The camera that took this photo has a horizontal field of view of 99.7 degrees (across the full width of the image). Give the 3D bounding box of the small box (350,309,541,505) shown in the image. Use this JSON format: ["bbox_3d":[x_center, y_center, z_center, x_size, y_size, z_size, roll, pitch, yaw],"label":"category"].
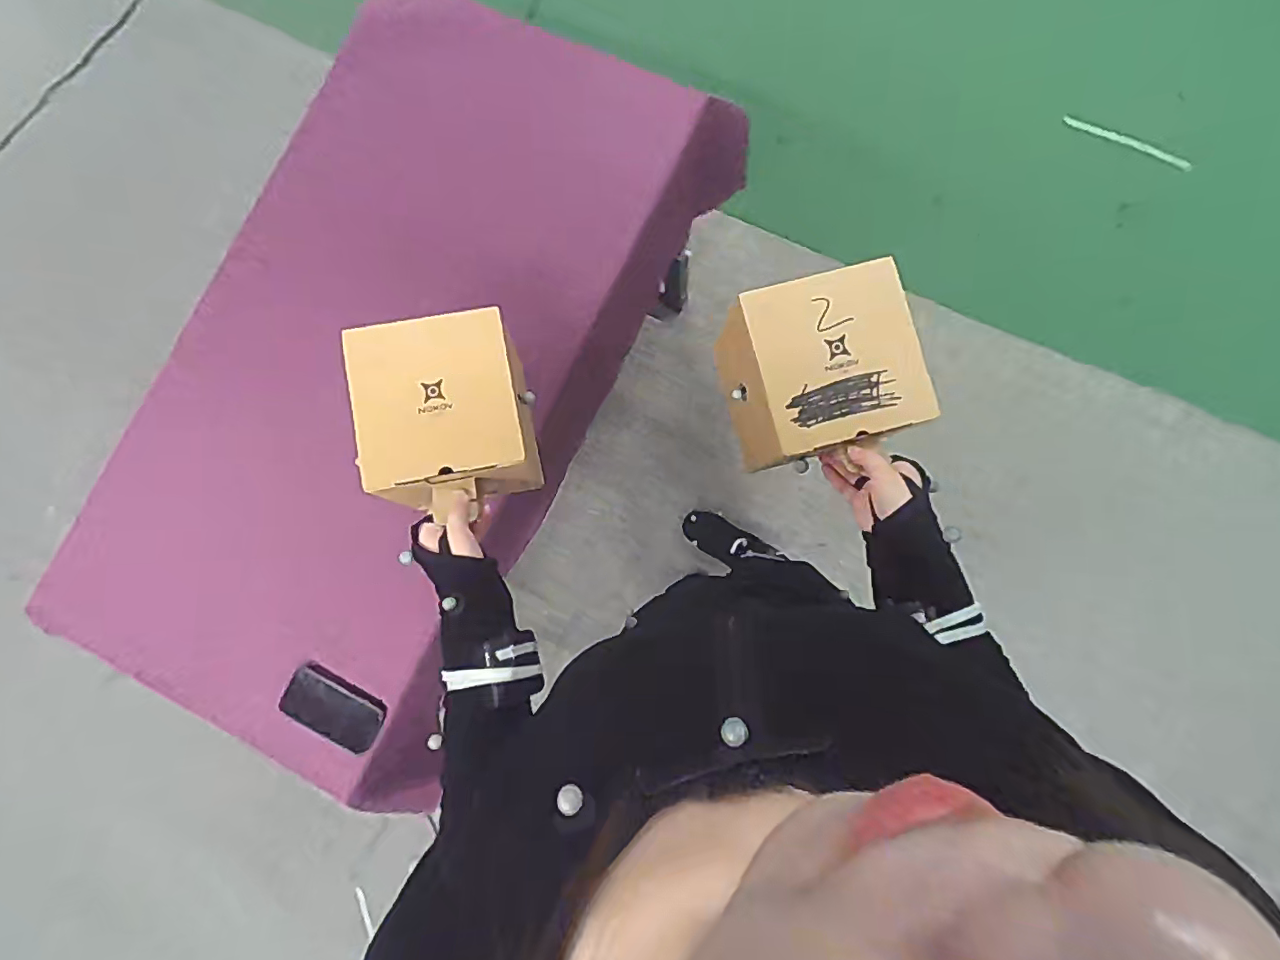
[{"bbox_3d":[-0.214,-0.075,0.634,0.168,0.176,0.179,-9,83,-7],"label":"small box"}]
